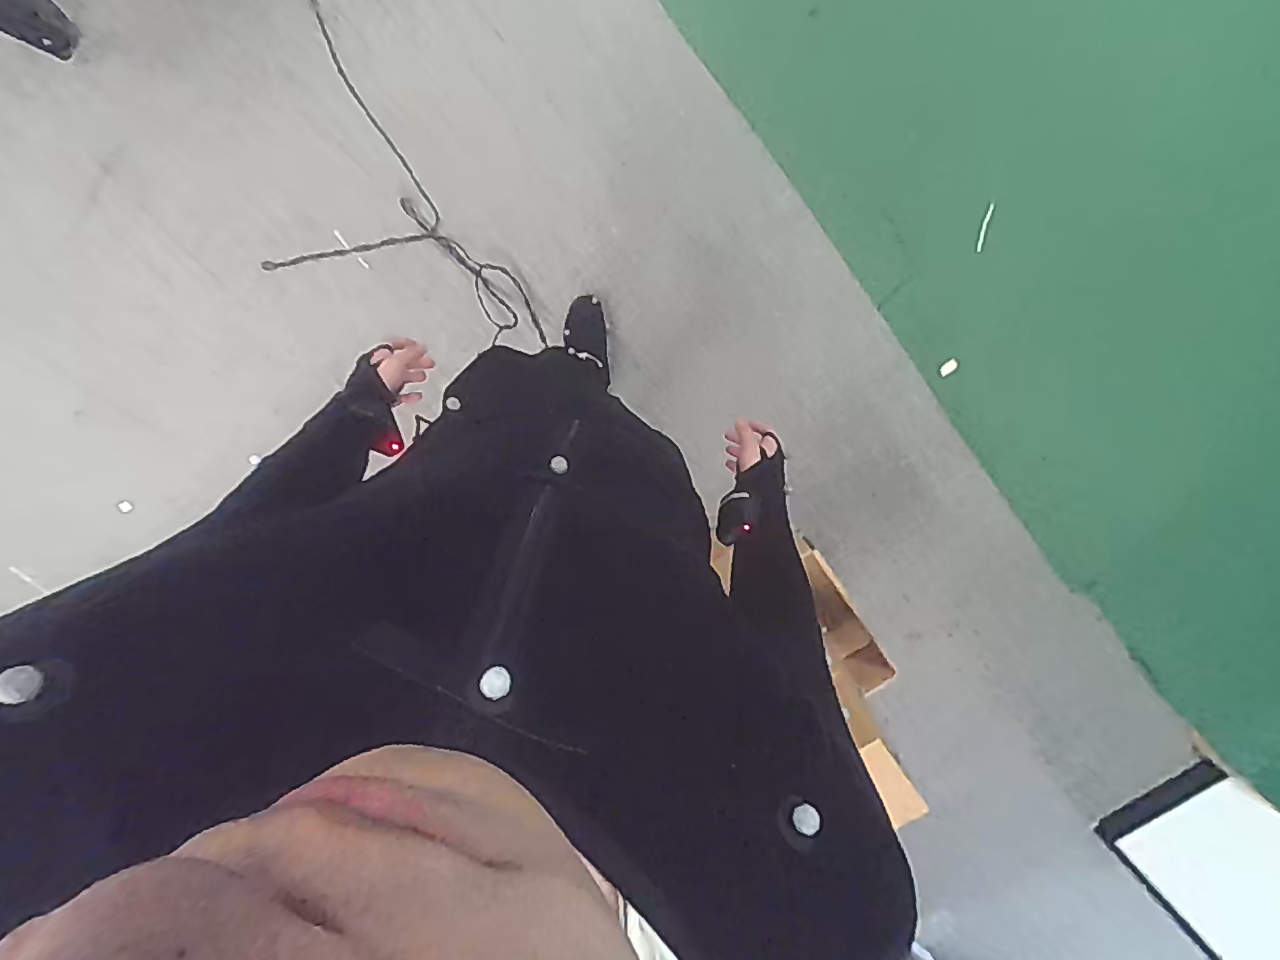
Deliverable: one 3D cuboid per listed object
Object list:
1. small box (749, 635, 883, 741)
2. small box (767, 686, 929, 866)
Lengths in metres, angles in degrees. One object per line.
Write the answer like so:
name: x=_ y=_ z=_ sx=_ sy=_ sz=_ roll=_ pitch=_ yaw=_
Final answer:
small box: x=0.342 y=0.447 z=1.075 sx=0.168 sy=0.176 sz=0.179 roll=-35 pitch=103 yaw=9
small box: x=0.342 y=0.493 z=0.919 sx=0.168 sy=0.176 sz=0.179 roll=-34 pitch=103 yaw=8
